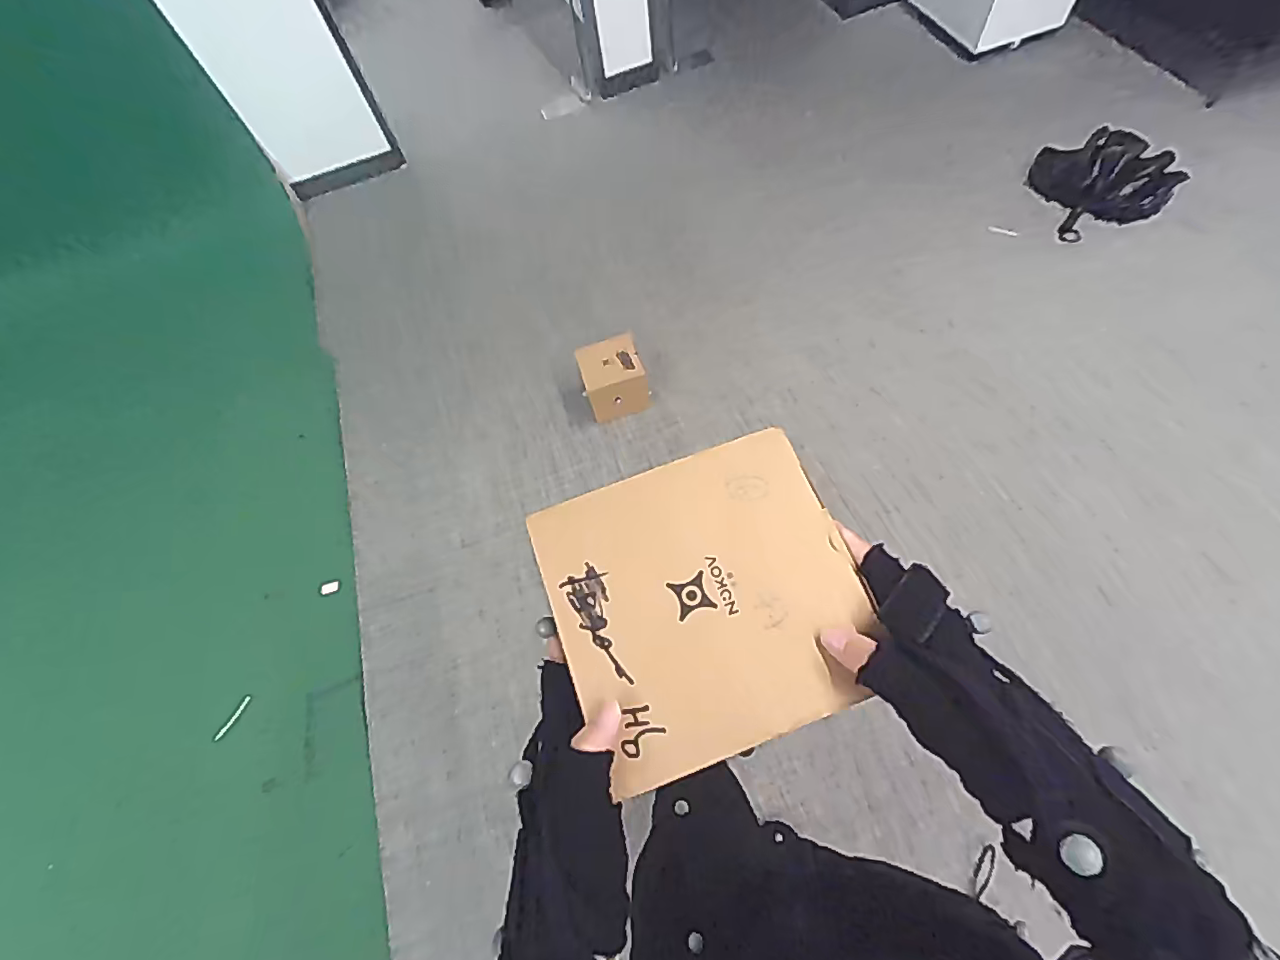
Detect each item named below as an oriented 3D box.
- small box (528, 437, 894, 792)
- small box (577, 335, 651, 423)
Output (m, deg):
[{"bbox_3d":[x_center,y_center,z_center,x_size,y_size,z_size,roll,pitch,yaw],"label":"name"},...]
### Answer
[{"bbox_3d":[0.037,0.097,0.392,0.179,0.176,0.168,-19,67,-6],"label":"small box"},{"bbox_3d":[-0.072,-0.299,1.622,0.179,0.176,0.168,-19,63,-3],"label":"small box"}]
